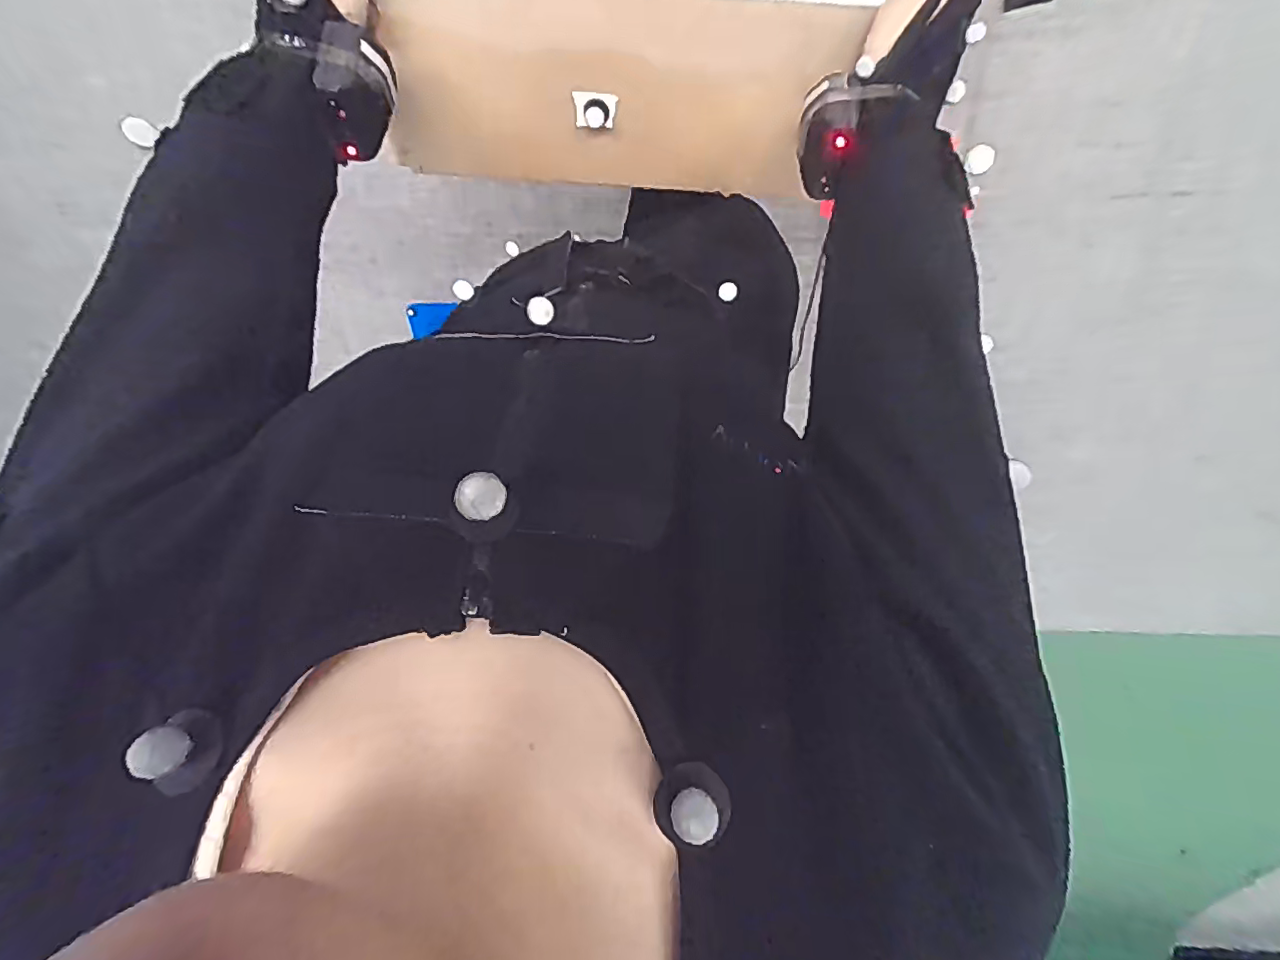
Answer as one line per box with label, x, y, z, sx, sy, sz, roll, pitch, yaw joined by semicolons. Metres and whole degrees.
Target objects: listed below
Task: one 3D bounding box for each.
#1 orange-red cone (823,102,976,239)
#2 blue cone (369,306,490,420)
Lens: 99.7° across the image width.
orange-red cone;0.474;-0.492;0.912;0.199;0.360;0.198;16;126;-8
blue cone;-0.482;-0.238;1.195;0.192;0.380;0.193;1;125;5
